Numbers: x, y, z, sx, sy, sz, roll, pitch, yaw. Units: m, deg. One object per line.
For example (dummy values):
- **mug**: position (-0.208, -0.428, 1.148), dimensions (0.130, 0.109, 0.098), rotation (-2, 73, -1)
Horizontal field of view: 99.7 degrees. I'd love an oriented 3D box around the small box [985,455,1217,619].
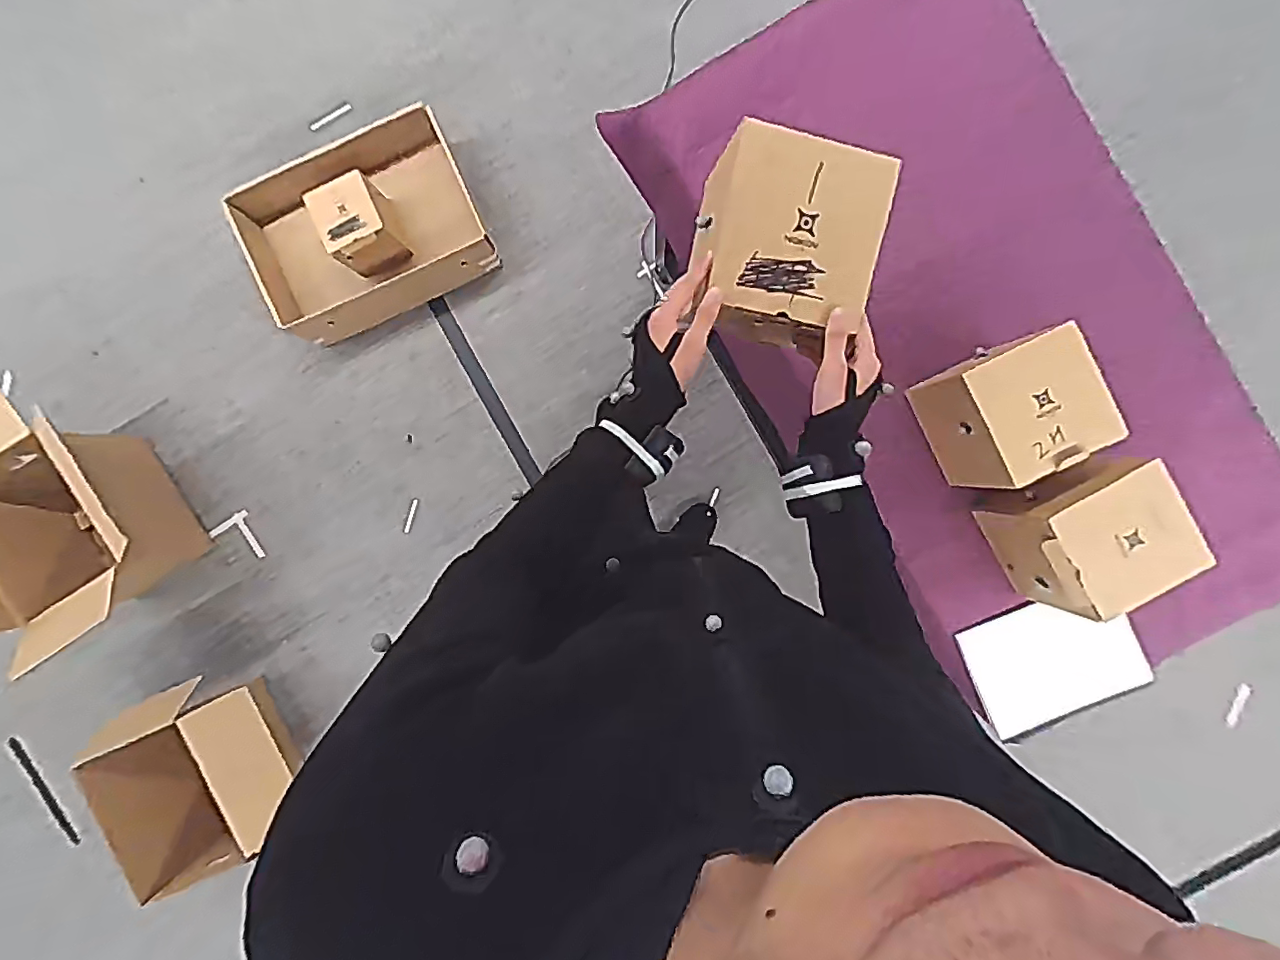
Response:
- **small box**: position (0.653, 0.076, 0.797), dimensions (0.179, 0.176, 0.168), rotation (-29, 91, 1)
